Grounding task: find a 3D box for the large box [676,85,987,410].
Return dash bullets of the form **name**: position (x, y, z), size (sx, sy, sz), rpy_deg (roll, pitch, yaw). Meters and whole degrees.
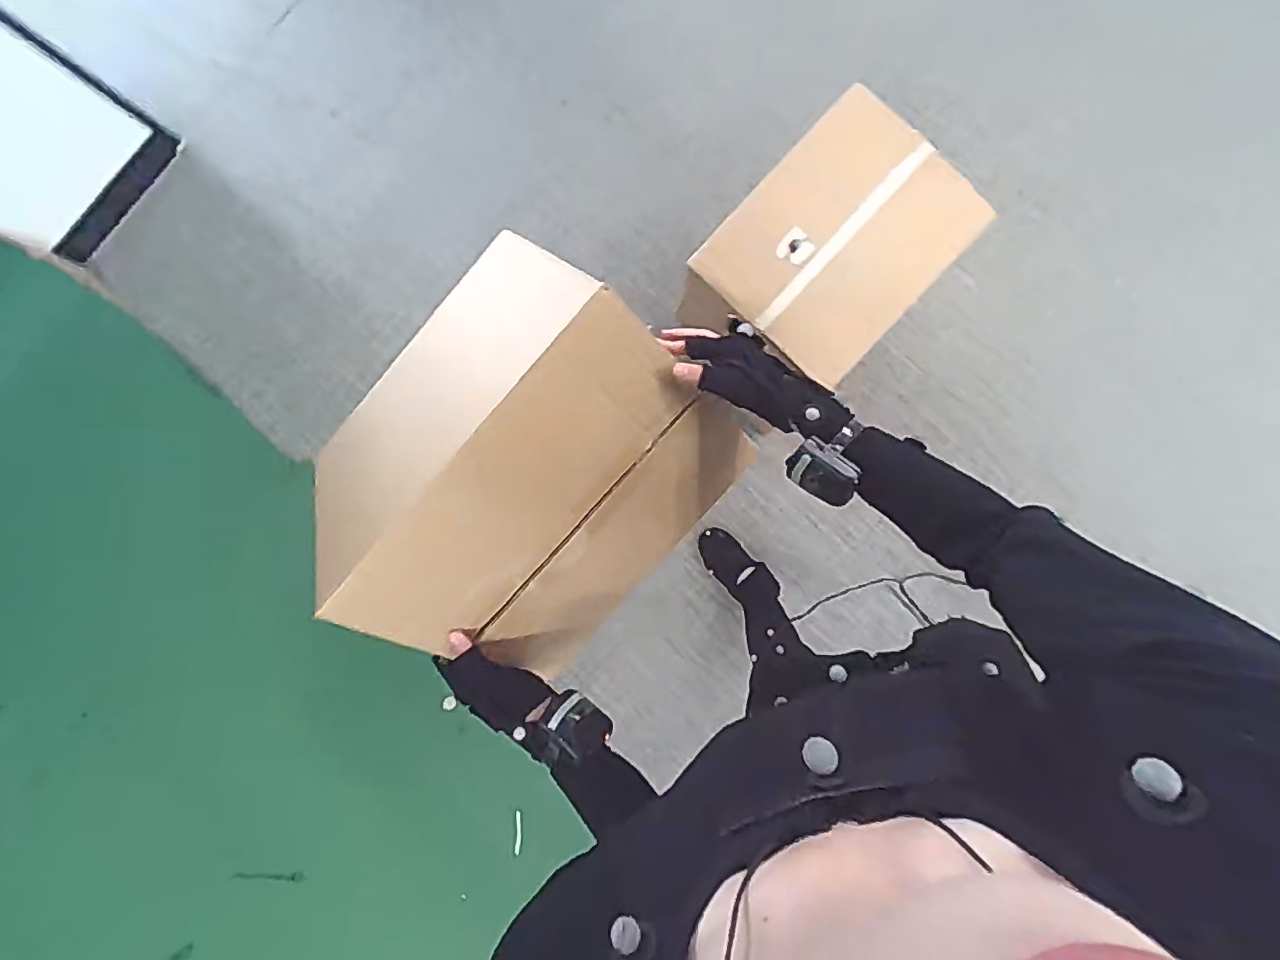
- **large box**: position (0.317, -0.389, 1.014), size (0.320, 0.320, 0.408), rpy_deg (43, 91, 0)
